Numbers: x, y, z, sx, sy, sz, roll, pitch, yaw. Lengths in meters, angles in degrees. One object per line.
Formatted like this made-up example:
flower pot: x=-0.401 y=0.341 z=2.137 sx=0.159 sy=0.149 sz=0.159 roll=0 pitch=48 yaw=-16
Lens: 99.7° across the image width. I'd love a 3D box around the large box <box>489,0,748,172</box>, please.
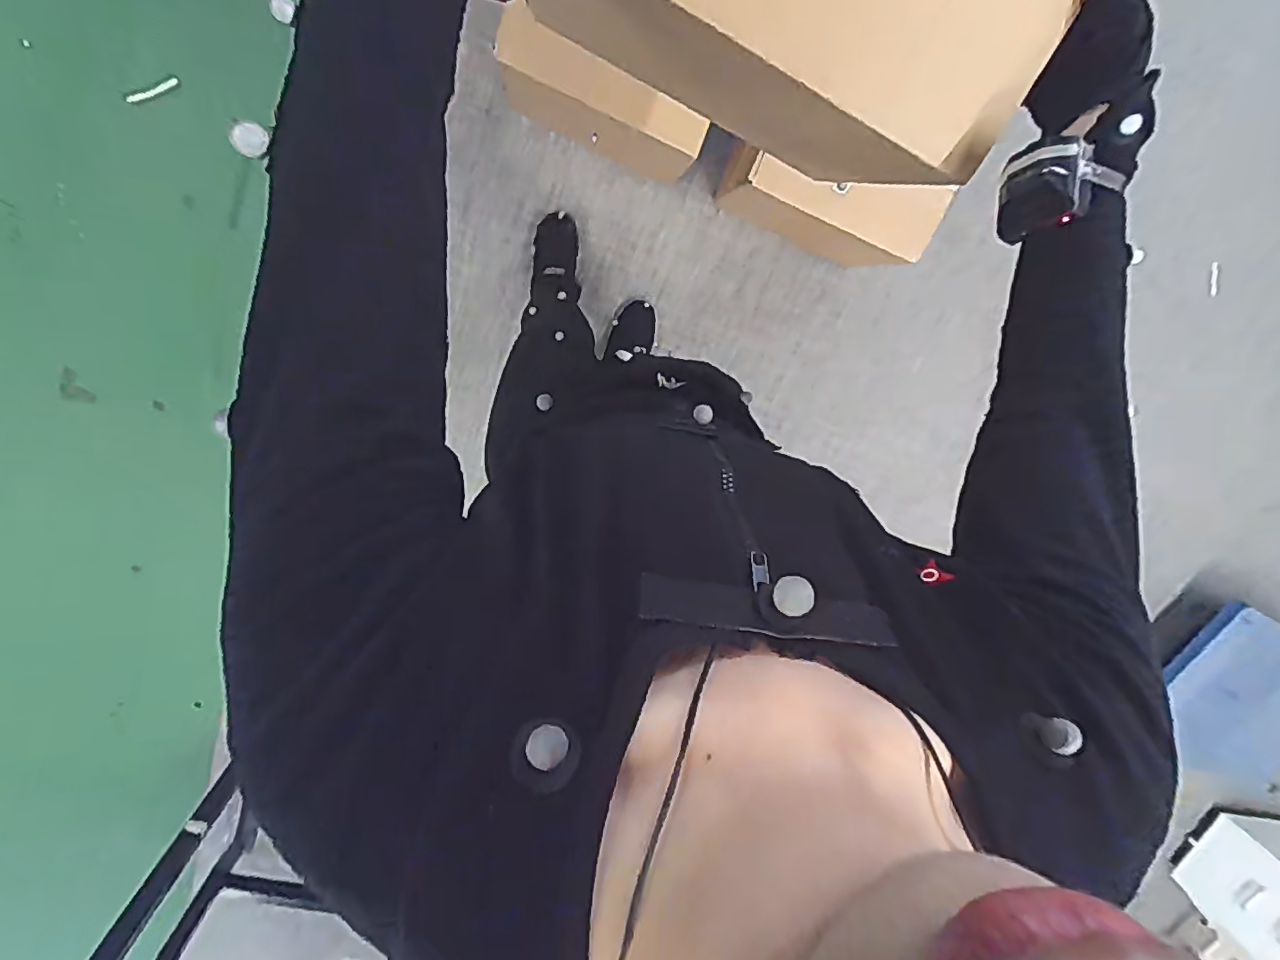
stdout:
large box: x=-0.037 y=-0.876 z=1.079 sx=0.408 sy=0.320 sz=0.320 roll=20 pitch=107 yaw=-11
